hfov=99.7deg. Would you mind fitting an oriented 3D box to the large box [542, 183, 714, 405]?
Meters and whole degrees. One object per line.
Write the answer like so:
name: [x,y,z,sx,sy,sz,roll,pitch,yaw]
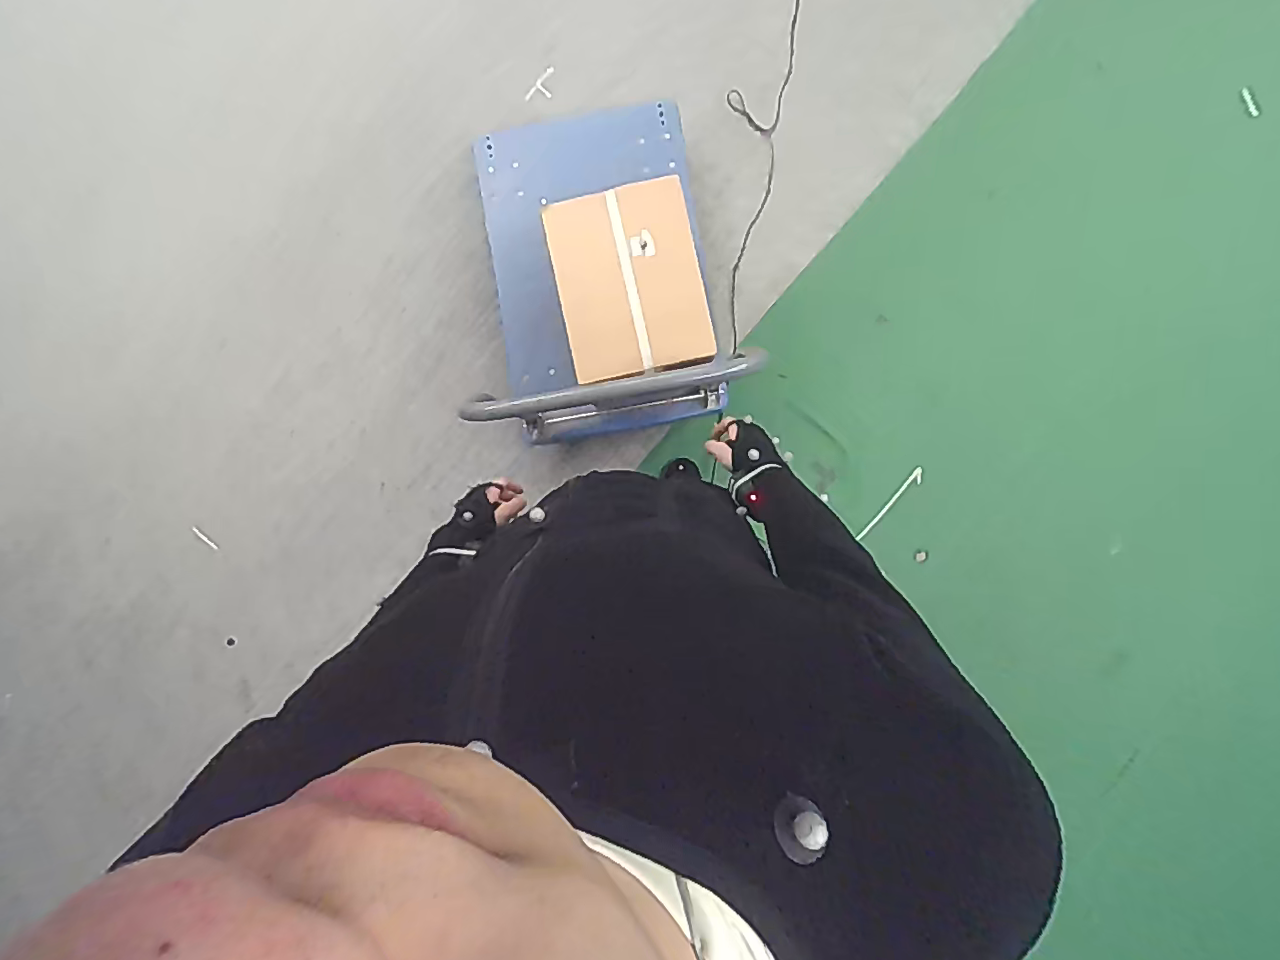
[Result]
large box: [-0.022,-0.433,1.346,0.320,0.320,0.408,-12,89,0]
